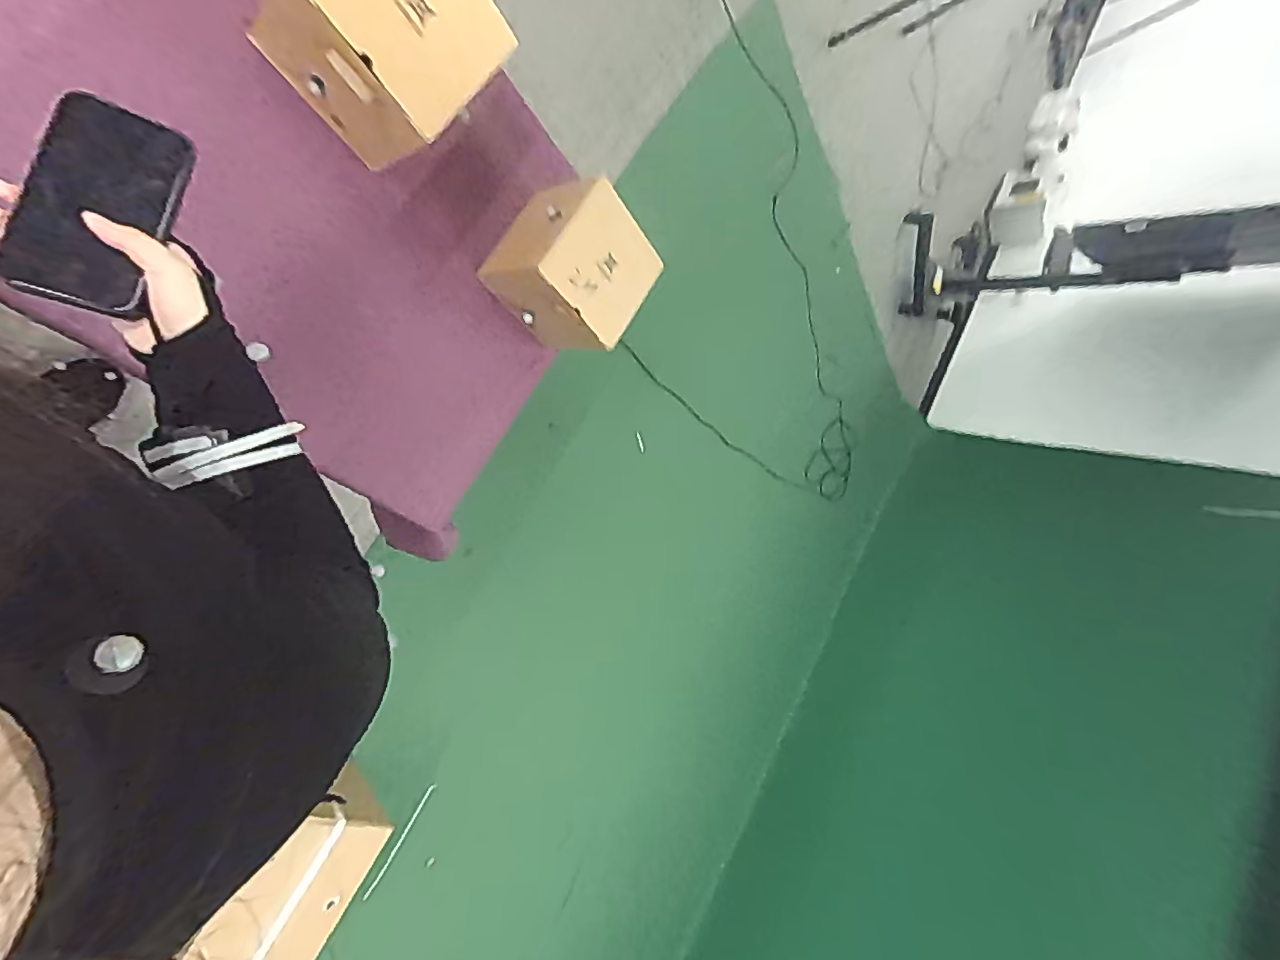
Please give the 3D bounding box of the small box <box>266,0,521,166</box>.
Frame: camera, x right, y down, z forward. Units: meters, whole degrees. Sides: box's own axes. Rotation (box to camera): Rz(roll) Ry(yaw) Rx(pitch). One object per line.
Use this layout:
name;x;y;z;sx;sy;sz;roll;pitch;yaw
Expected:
small box;-0.275;-0.491;0.603;0.168;0.176;0.179;45;71;-43

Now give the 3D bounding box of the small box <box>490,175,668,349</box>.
small box;-0.096;-0.323;0.825;0.168;0.176;0.179;42;72;-42
